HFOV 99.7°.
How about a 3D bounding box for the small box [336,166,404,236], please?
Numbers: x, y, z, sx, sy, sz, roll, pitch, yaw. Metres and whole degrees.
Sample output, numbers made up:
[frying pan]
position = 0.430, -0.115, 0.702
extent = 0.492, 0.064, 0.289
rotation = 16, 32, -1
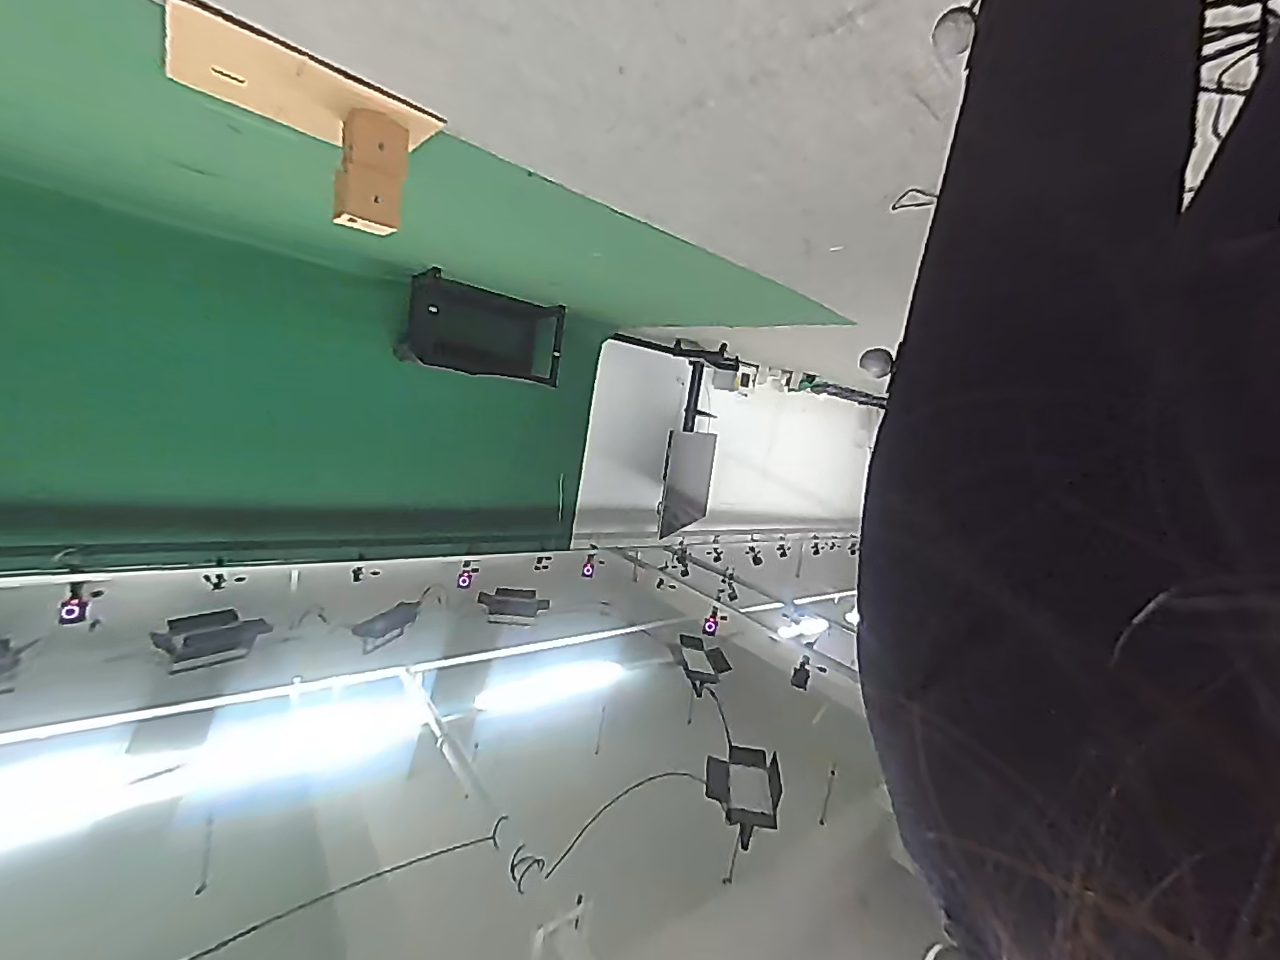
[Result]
[small box]
position = -0.951, -0.984, 1.904
extent = 0.179, 0.176, 0.168
rotation = -1, -168, -44
